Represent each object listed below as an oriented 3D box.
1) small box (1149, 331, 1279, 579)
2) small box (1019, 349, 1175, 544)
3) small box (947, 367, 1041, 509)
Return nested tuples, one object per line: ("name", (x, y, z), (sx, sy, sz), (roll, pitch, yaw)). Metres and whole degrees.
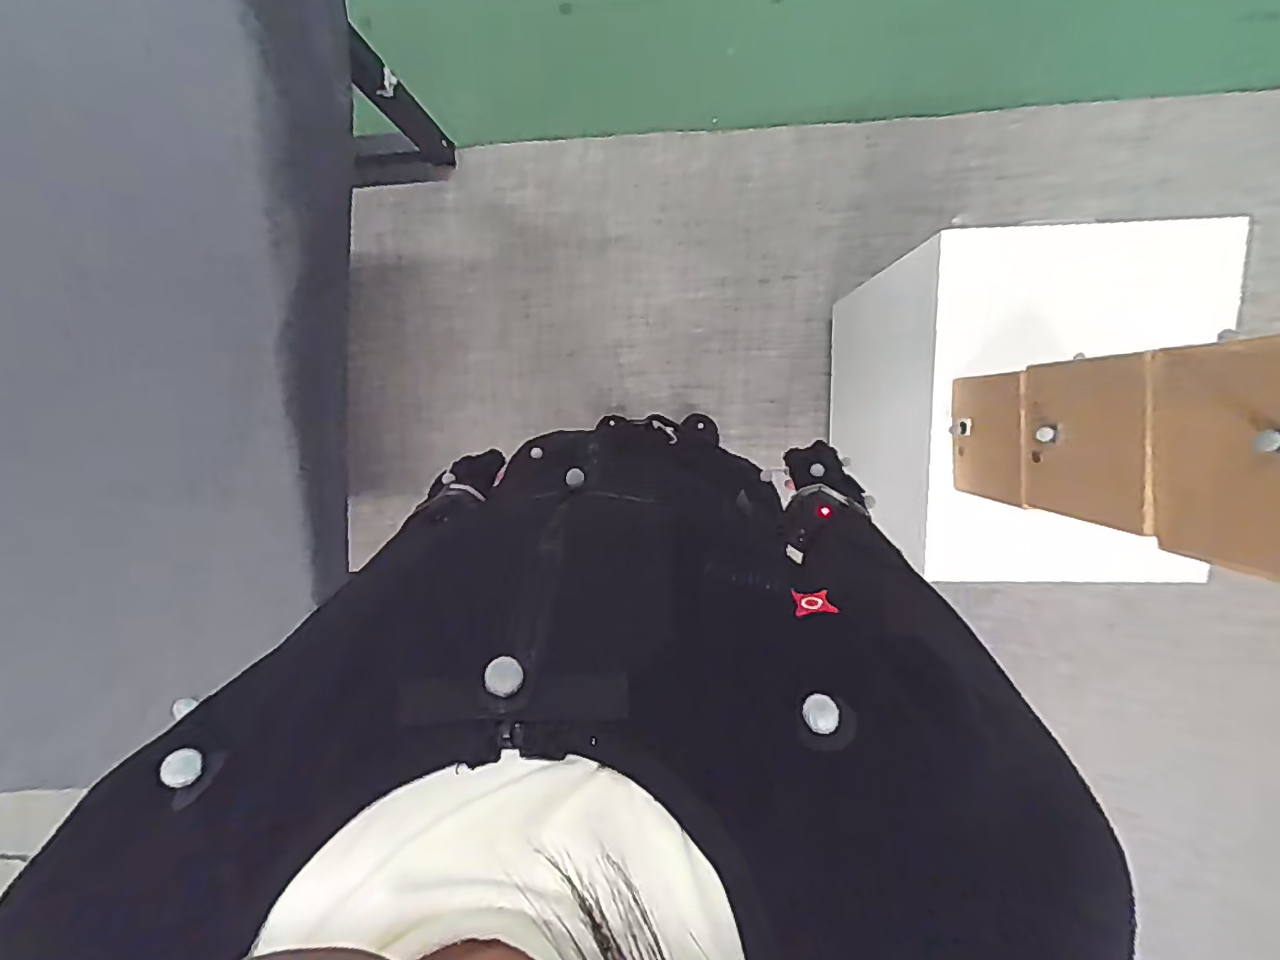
("small box", (0.503, -0.022, 0.372), (0.168, 0.176, 0.179), (-6, 96, 6))
("small box", (0.518, -0.044, 0.533), (0.179, 0.176, 0.168), (-7, 97, 4))
("small box", (0.526, -0.062, 0.696), (0.179, 0.176, 0.168), (-5, 96, 6))
